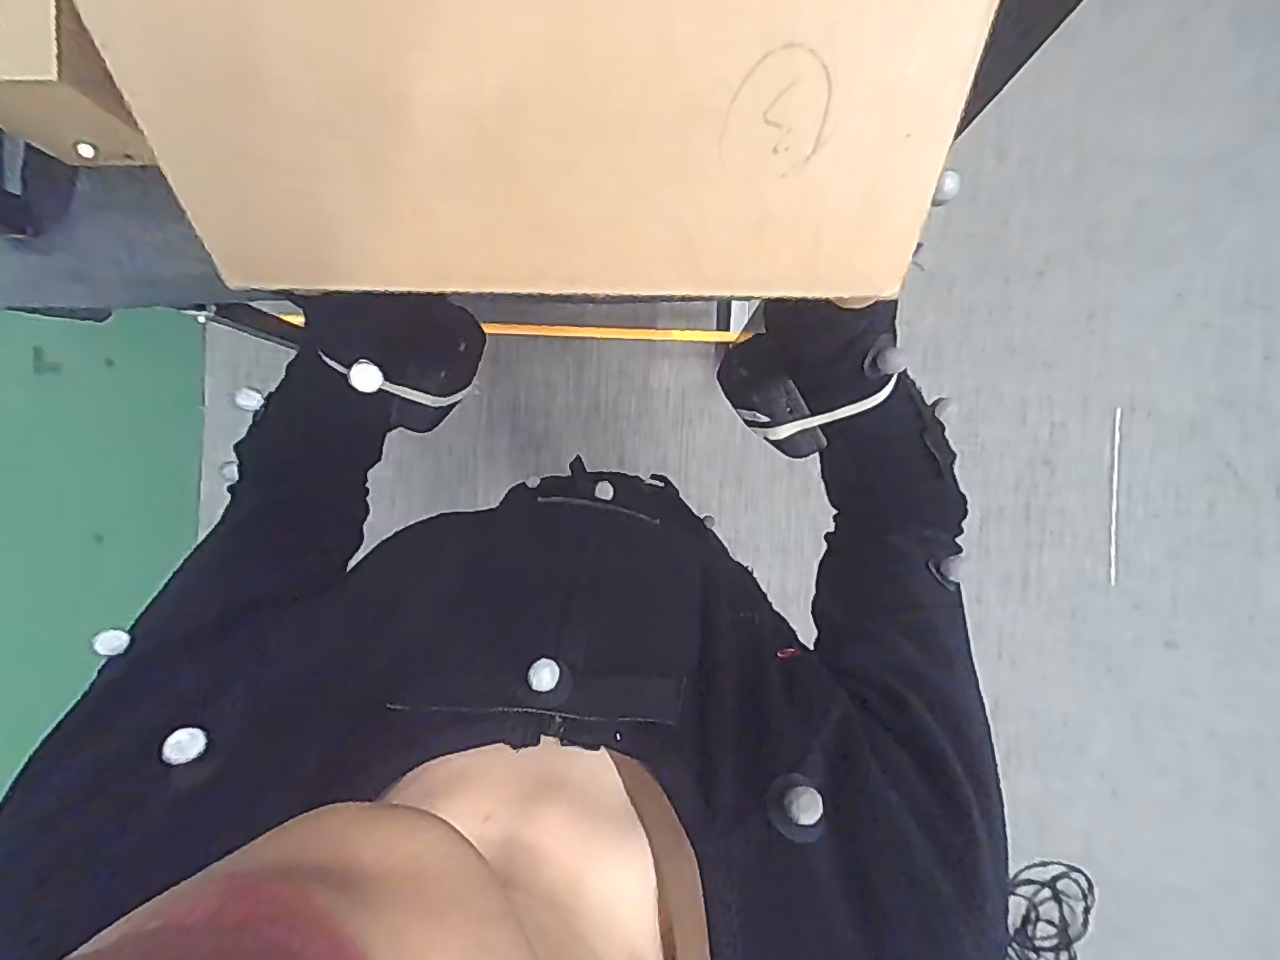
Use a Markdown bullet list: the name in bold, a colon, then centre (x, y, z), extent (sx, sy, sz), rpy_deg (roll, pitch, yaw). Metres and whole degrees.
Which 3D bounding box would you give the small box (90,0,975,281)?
- **small box**: centre (-0.017, -0.169, 0.135), extent (0.168, 0.176, 0.179), rpy_deg (1, 131, 1)

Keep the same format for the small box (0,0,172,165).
- **small box**: centre (-0.723, -0.532, 0.678), extent (0.168, 0.176, 0.179), rpy_deg (0, 90, 1)
